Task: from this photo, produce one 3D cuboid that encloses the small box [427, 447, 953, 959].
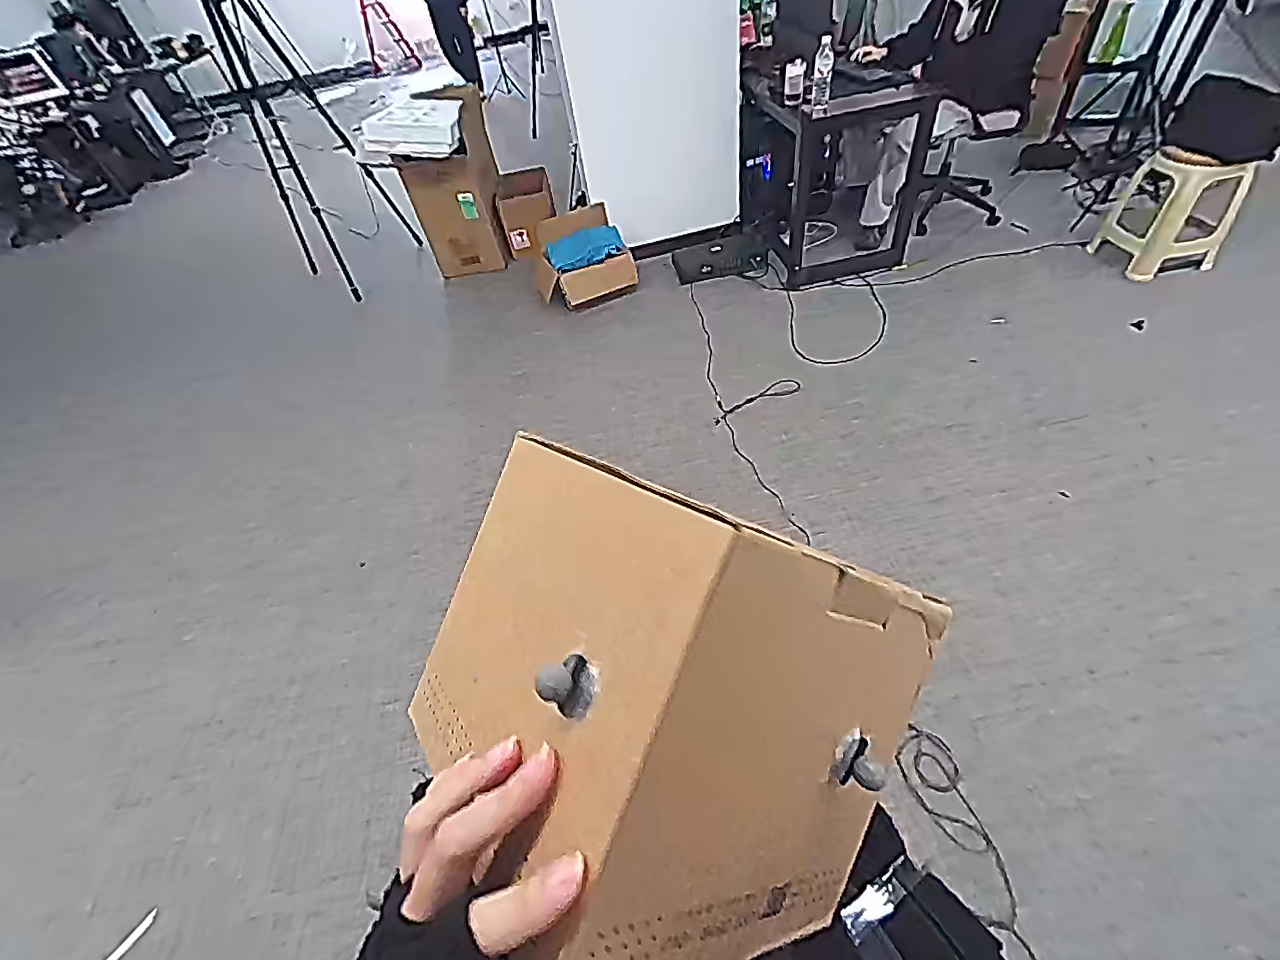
[{"bbox_3d":[0.015,0.101,0.281,0.179,0.168,0.176,22,90,52],"label":"small box"}]
